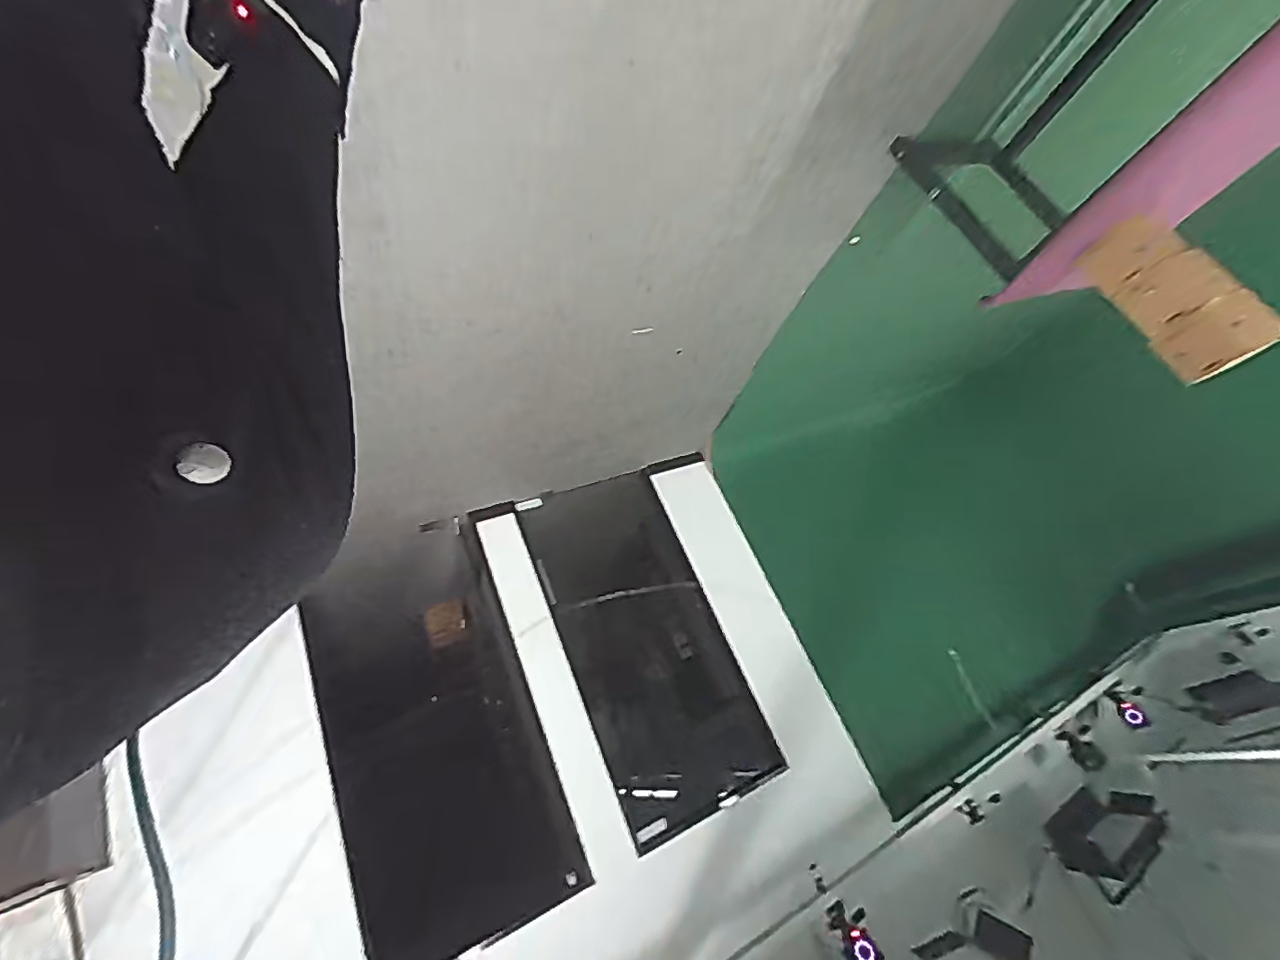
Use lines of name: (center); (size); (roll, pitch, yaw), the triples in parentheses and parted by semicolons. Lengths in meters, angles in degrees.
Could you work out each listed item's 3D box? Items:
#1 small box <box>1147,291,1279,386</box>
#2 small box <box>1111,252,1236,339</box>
small box: (1.613, -0.401, 1.527); (0.179, 0.176, 0.168); (-22, 161, -12)
small box: (1.547, -0.542, 1.576); (0.179, 0.176, 0.168); (-17, 158, -22)
